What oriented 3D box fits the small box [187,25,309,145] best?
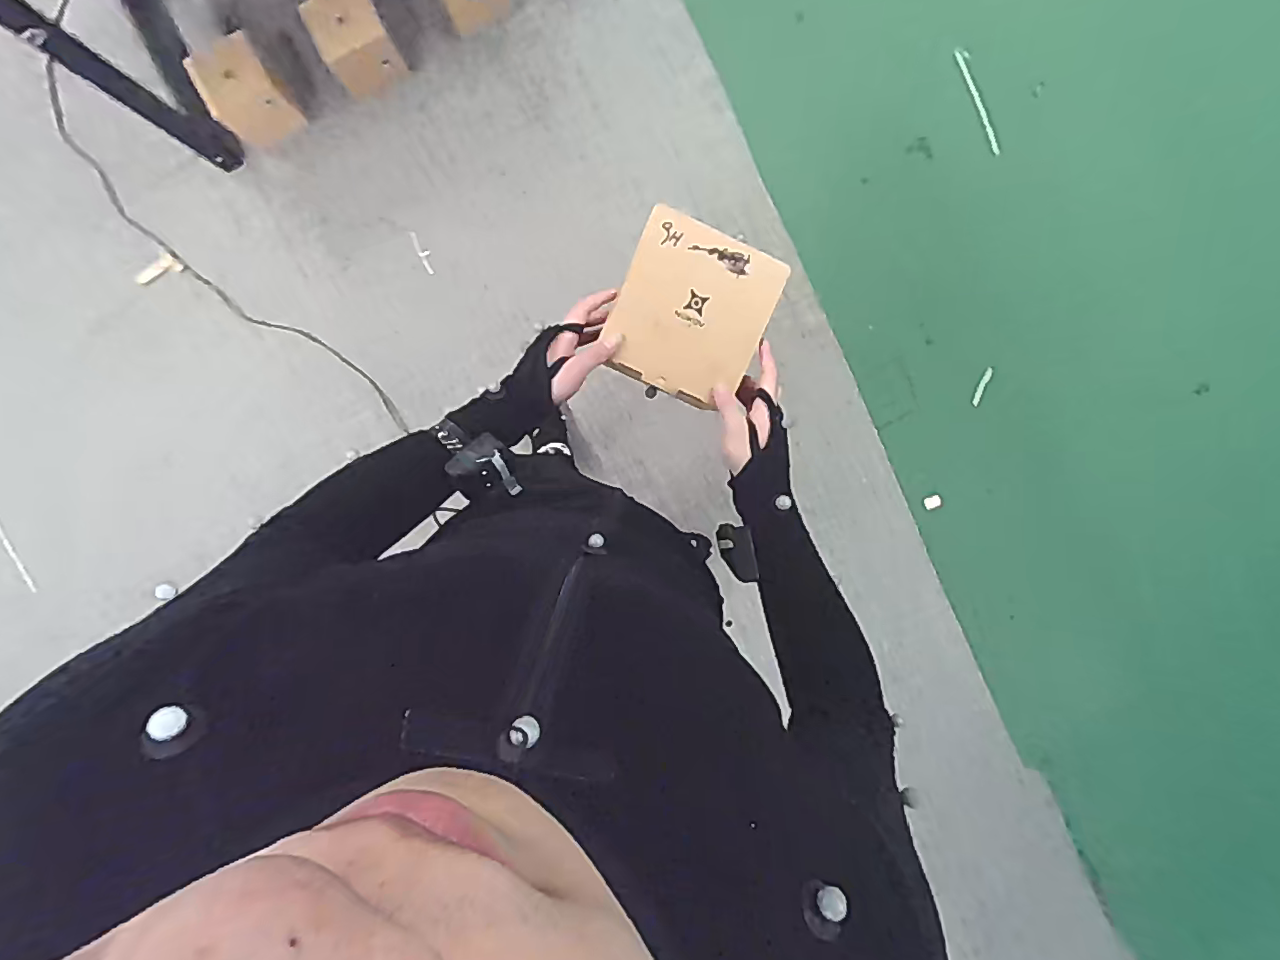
[{"bbox_3d":[-1.053,-1.059,1.467,0.179,0.176,0.168,-27,94,2],"label":"small box"}]

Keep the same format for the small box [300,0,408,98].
[{"bbox_3d":[-0.755,-1.190,1.457,0.179,0.176,0.168,-25,93,3],"label":"small box"}]

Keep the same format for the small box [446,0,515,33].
[{"bbox_3d":[-0.458,-1.359,1.442,0.179,0.176,0.168,-29,94,2],"label":"small box"}]
